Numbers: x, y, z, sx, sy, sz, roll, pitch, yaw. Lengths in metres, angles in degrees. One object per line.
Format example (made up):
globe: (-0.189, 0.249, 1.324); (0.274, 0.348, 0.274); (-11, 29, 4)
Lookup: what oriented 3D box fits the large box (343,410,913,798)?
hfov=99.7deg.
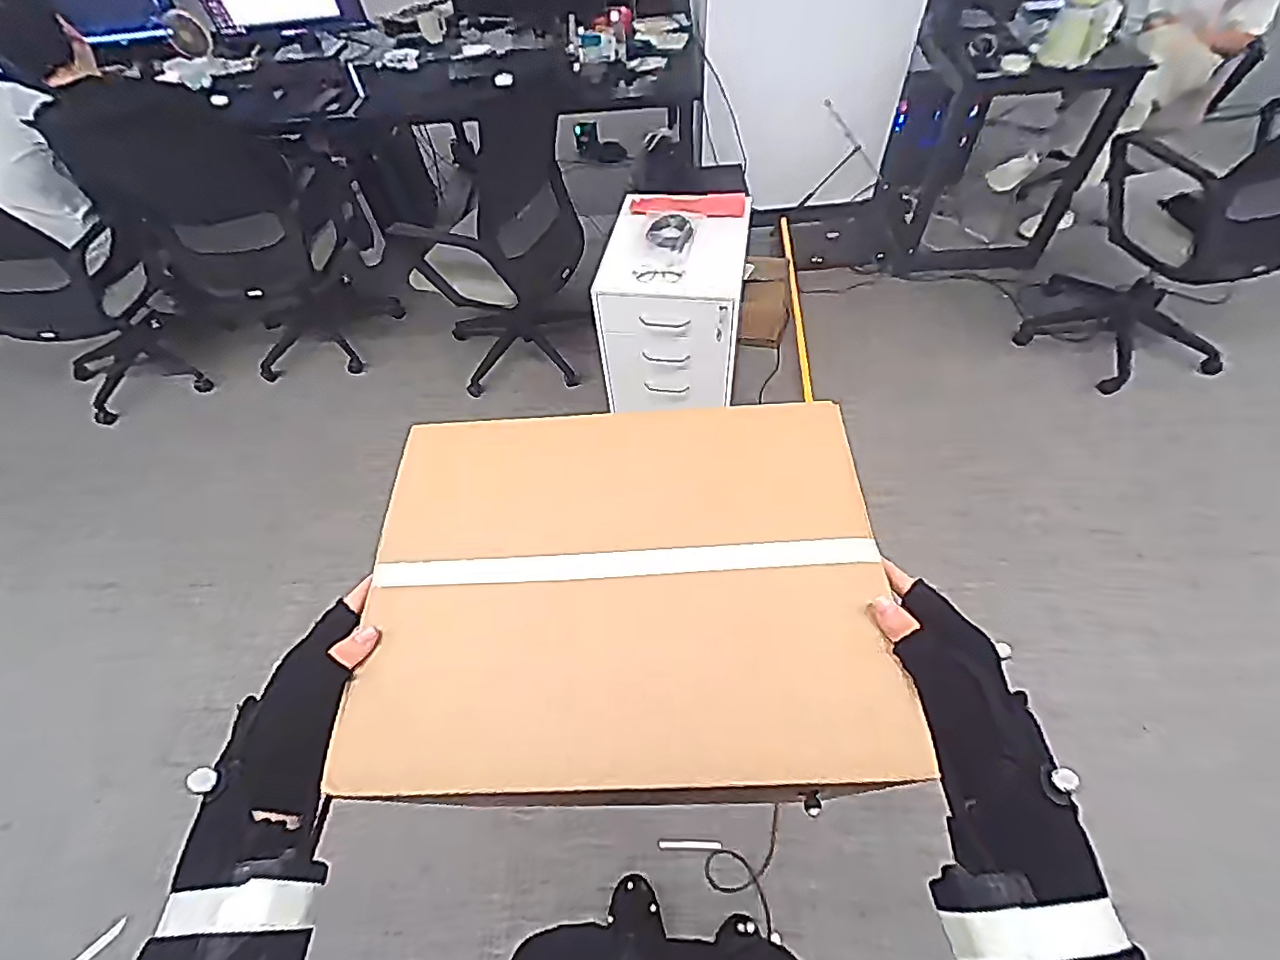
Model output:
large box: (-0.005, 0.152, 0.573); (0.408, 0.320, 0.320); (-3, 57, 3)
